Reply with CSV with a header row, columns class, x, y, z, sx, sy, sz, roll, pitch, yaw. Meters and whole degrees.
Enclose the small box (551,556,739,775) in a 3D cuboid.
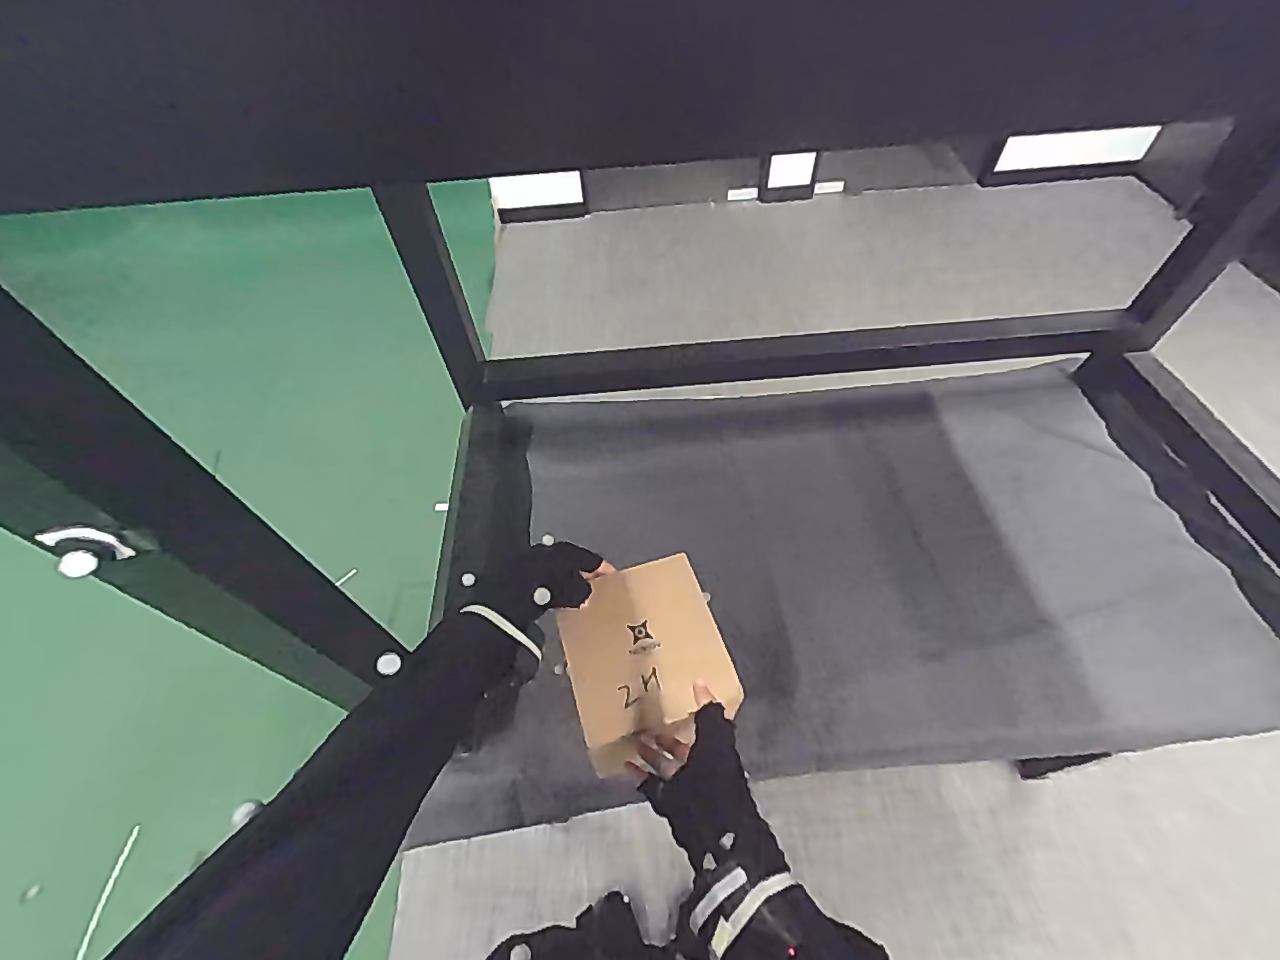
class,x,y,z,sx,sy,sz,roll,pitch,yaw
small box,-0.001,0.222,0.644,0.168,0.176,0.179,-15,54,-10
